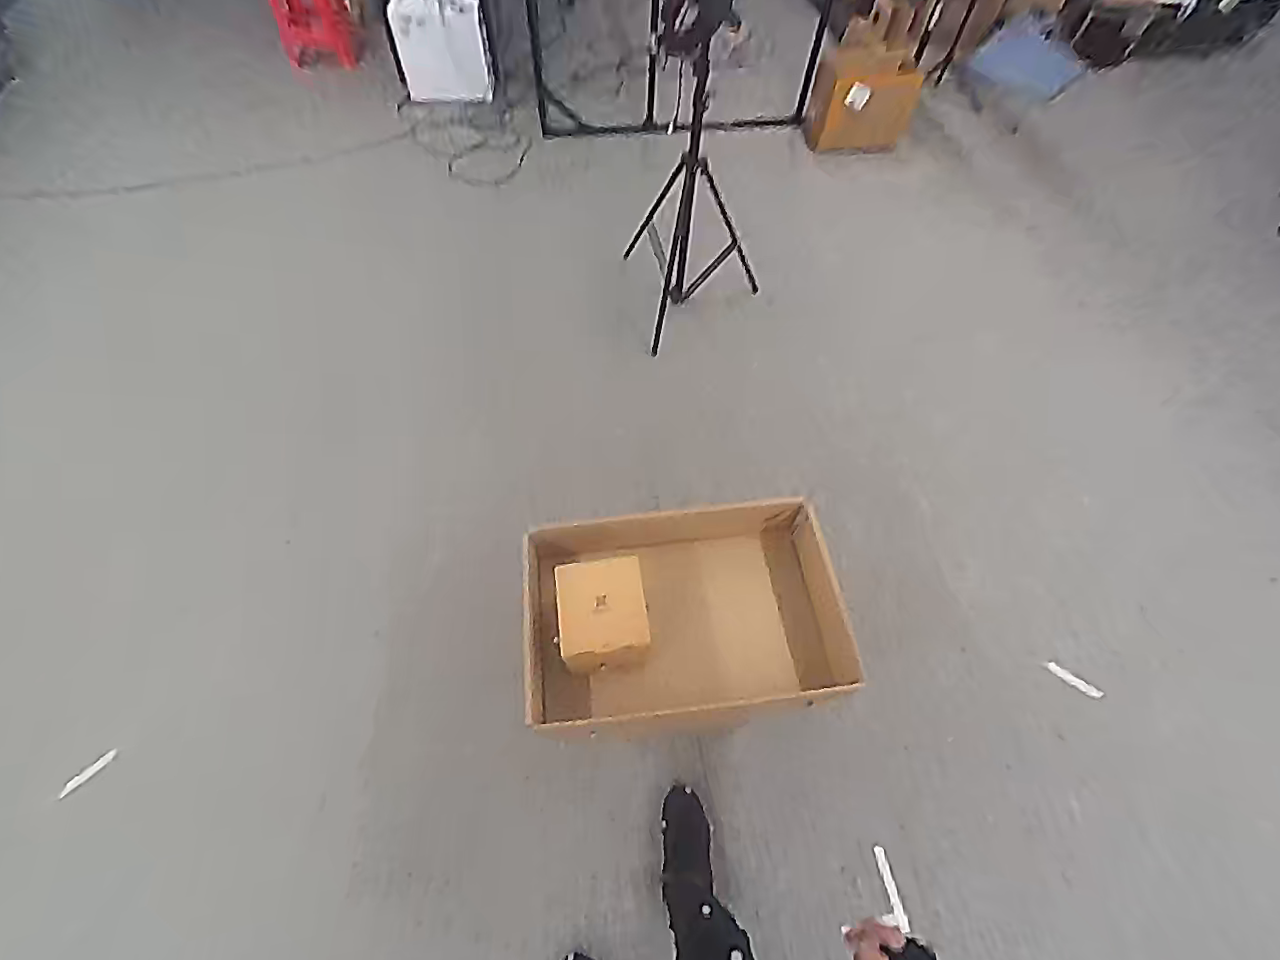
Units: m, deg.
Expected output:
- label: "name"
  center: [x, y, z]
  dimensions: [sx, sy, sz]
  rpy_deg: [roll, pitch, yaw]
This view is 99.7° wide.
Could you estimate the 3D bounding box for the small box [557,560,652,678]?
- label: "small box"
  center: [-0.072, 0.280, 1.079]
  dimensions: [0.168, 0.176, 0.179]
  rpy_deg: [-7, 59, -5]
